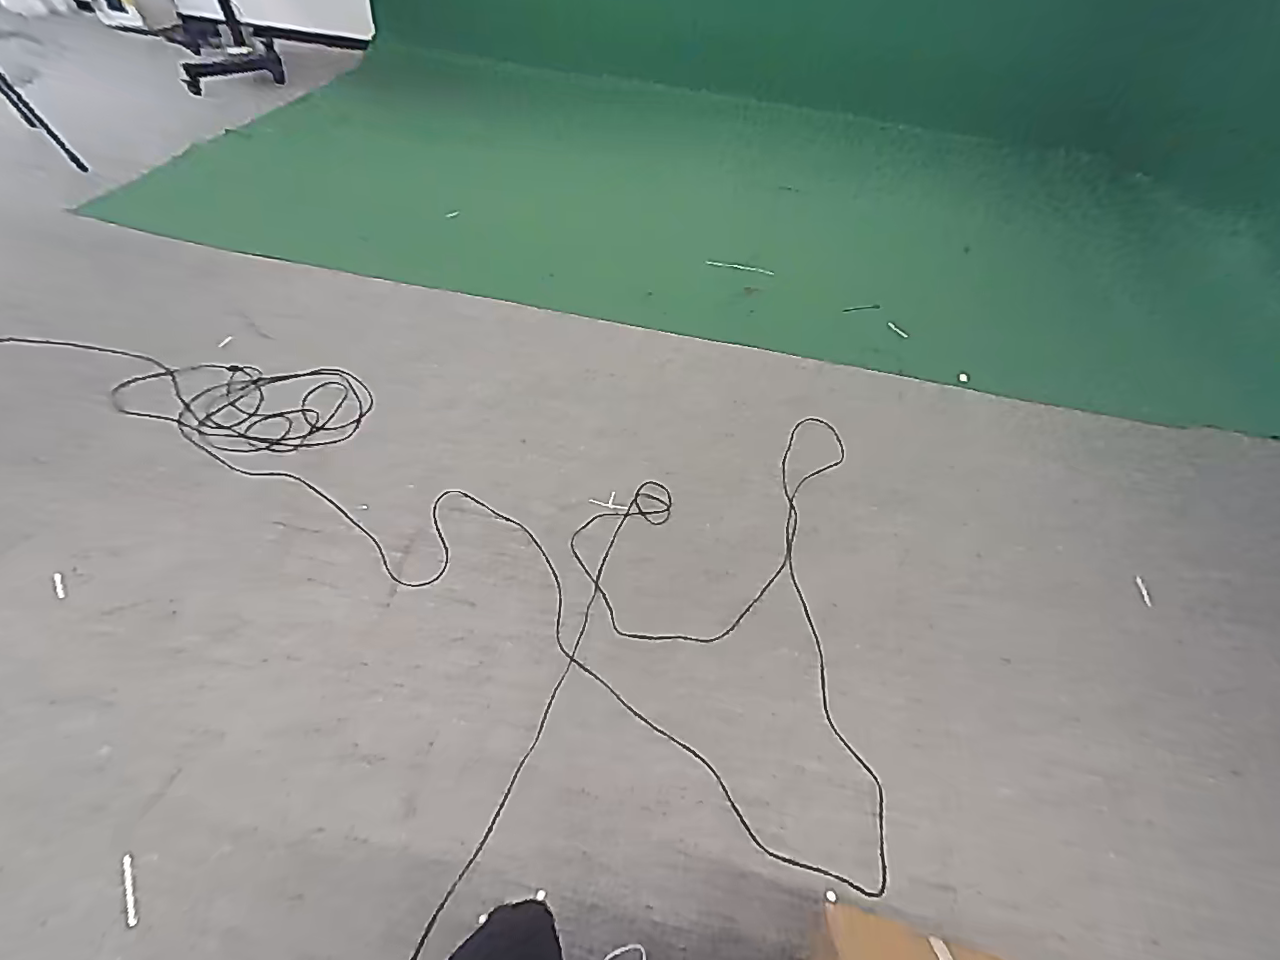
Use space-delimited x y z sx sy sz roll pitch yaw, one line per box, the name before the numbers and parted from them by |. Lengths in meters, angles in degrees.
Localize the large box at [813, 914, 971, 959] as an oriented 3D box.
large box | 0.360 0.815 0.589 0.320 0.408 0.320 15 87 9
